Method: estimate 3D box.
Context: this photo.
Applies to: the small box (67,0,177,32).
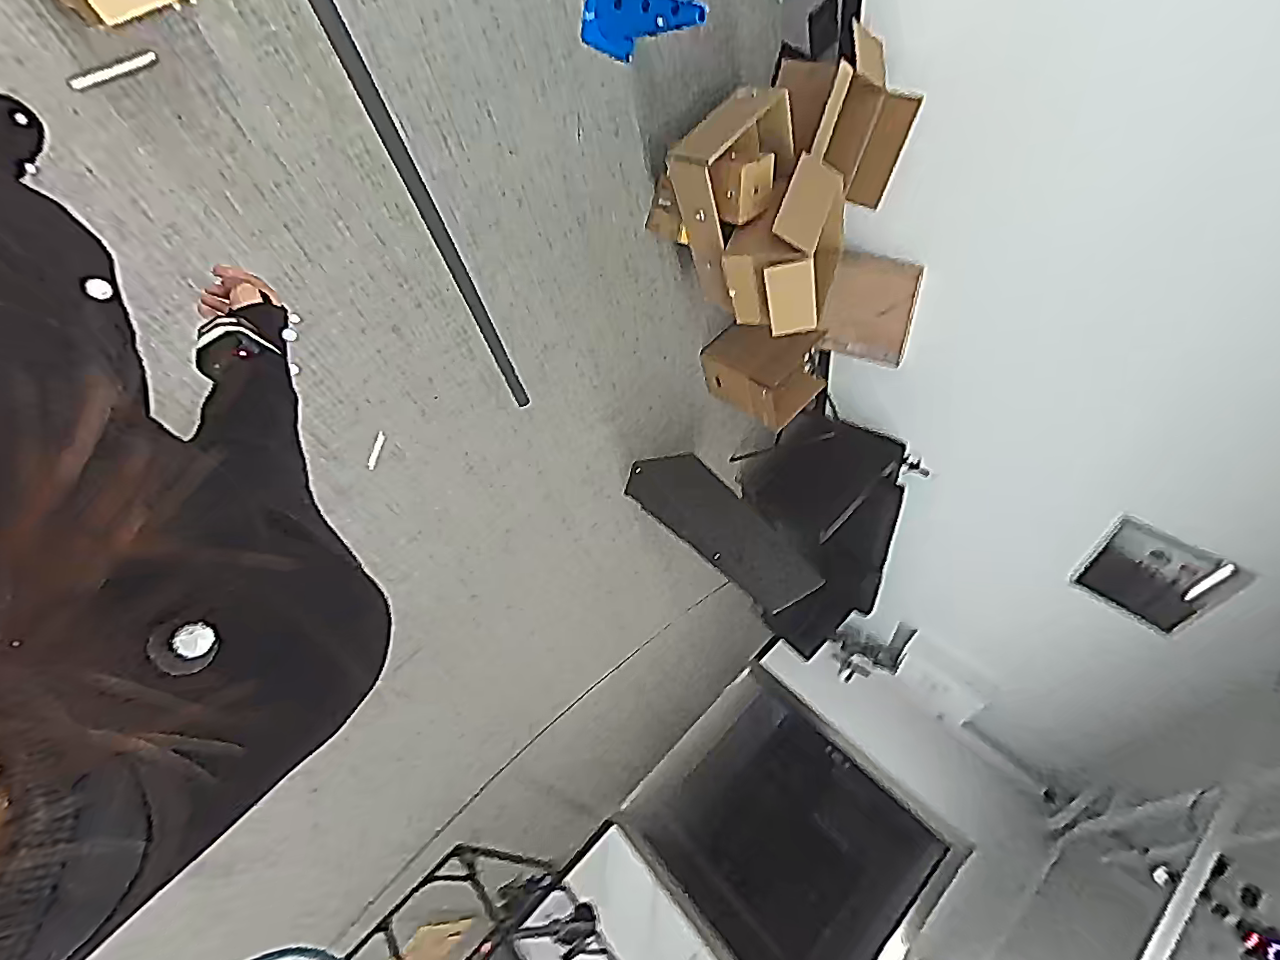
[{"bbox_3d":[-0.888,-0.872,0.883,0.179,0.176,0.168,-42,145,-15],"label":"small box"}]
